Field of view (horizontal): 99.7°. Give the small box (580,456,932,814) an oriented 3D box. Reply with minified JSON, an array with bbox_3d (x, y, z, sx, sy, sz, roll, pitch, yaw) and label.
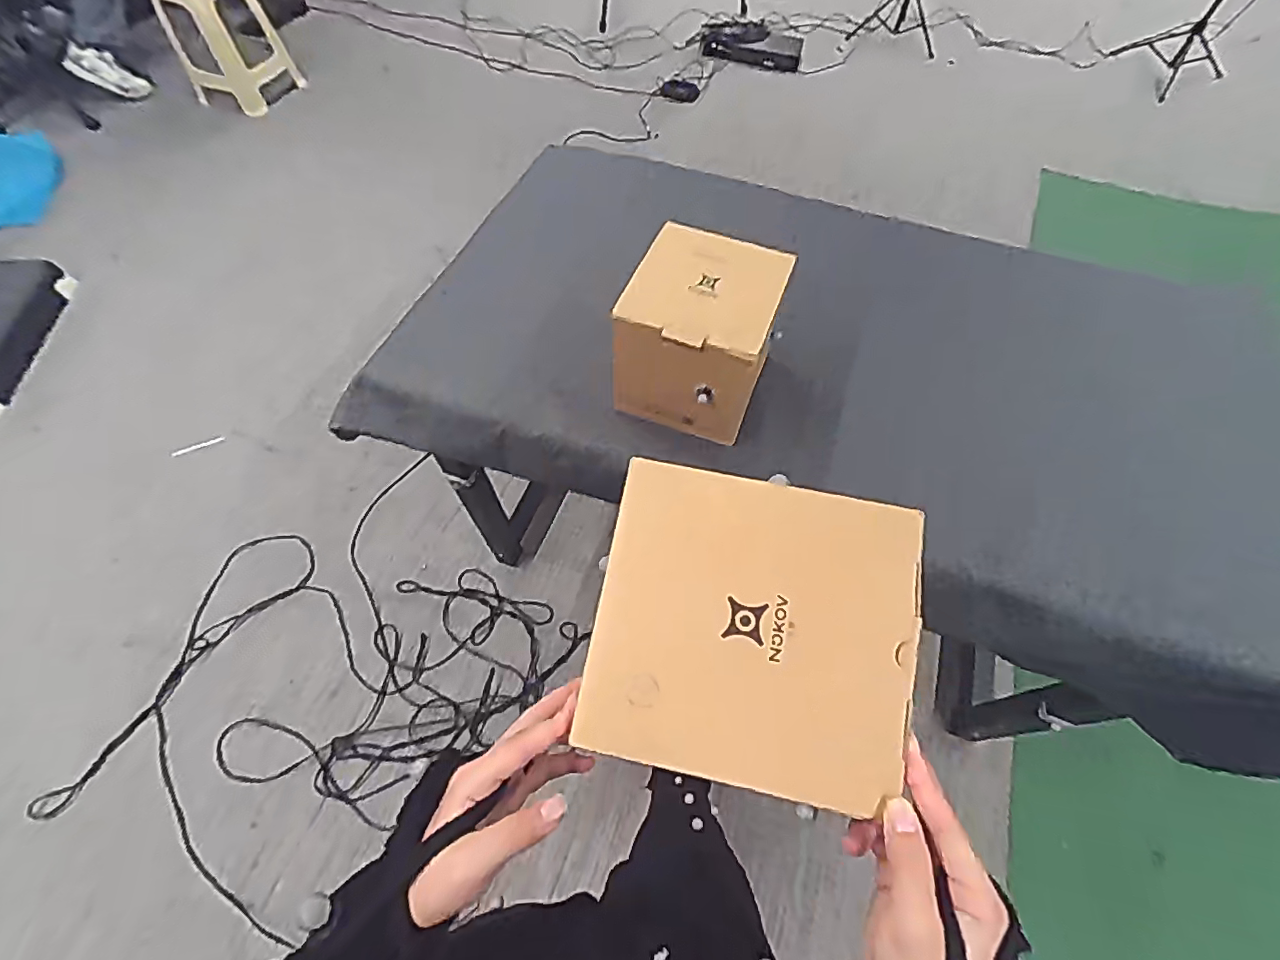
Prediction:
[{"bbox_3d":[0.072,0.099,0.377,0.179,0.176,0.168,11,74,6],"label":"small box"}]

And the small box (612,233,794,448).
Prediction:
[{"bbox_3d":[0.075,-0.168,0.678,0.168,0.176,0.179,20,60,9],"label":"small box"}]
